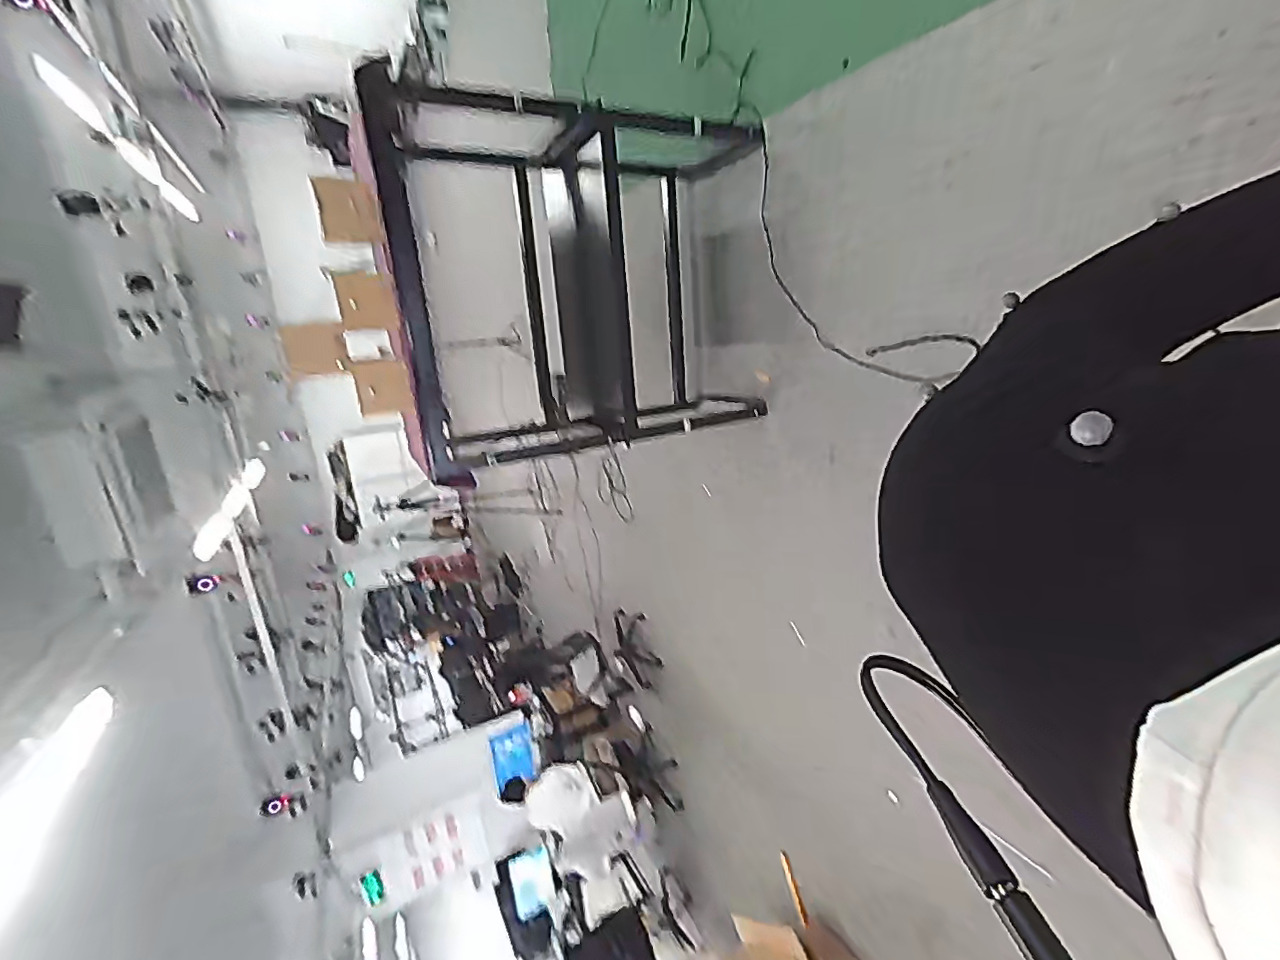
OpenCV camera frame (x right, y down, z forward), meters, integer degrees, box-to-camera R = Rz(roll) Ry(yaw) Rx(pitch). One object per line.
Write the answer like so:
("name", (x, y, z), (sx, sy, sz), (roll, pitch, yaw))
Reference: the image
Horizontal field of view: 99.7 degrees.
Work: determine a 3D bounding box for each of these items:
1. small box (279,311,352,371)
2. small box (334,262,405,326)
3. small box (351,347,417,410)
("small box", (-0.996, -0.431, 1.677), (0.179, 0.176, 0.168), (24, 121, 60))
("small box", (-0.853, -0.584, 1.704), (0.168, 0.176, 0.179), (23, 121, 60))
("small box", (-0.838, -0.336, 1.770), (0.168, 0.176, 0.179), (30, 125, 57))
